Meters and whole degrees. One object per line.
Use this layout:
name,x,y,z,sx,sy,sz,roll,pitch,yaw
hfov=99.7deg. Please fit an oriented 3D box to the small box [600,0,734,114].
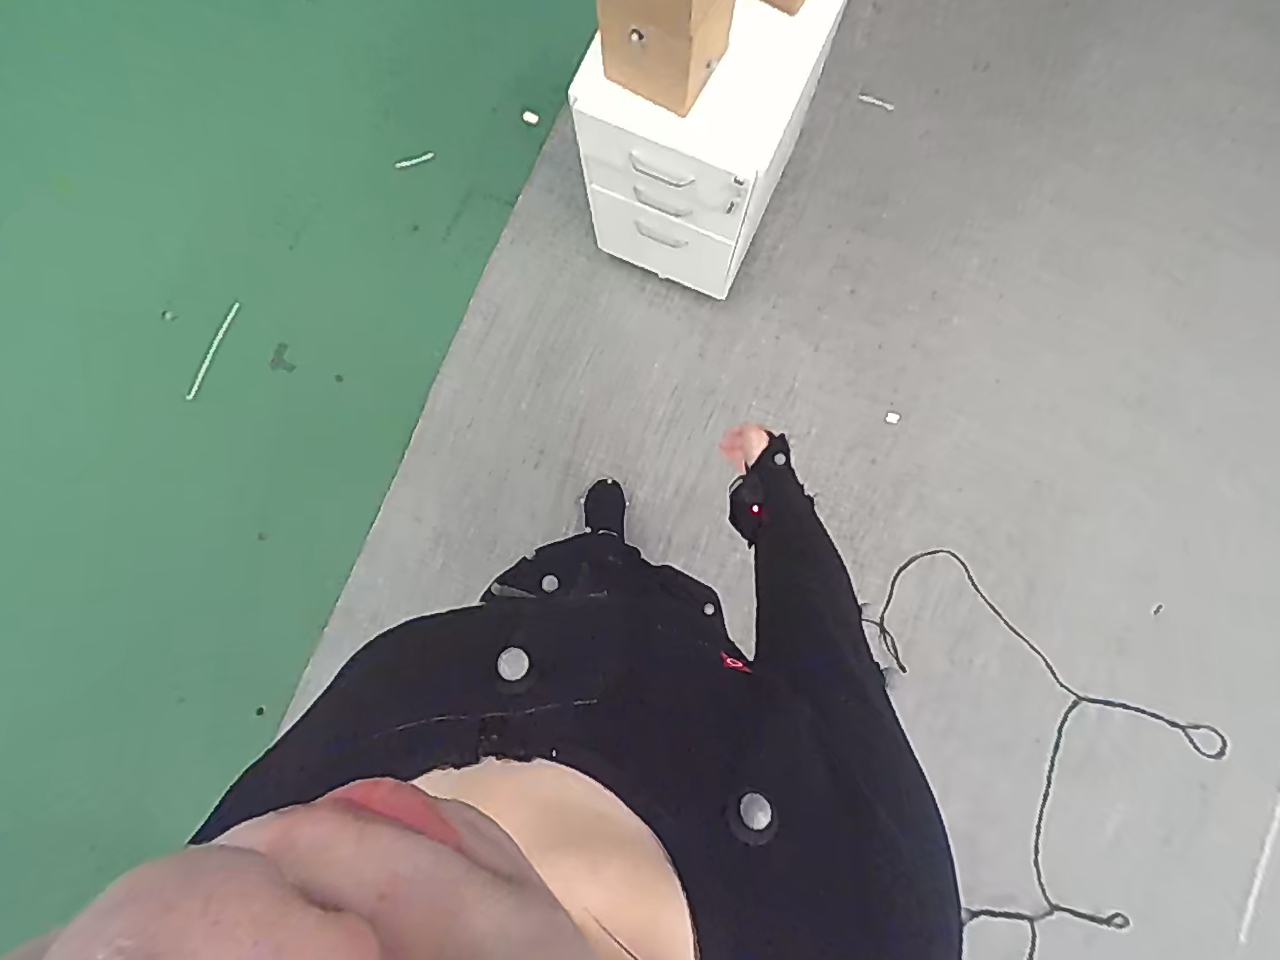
small box,0.043,-0.775,0.916,0.179,0.176,0.168,30,85,3

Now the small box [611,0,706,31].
small box,0.037,-0.789,0.755,0.179,0.176,0.168,29,84,4

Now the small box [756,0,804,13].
small box,0.246,-0.972,0.932,0.179,0.176,0.168,31,87,4
